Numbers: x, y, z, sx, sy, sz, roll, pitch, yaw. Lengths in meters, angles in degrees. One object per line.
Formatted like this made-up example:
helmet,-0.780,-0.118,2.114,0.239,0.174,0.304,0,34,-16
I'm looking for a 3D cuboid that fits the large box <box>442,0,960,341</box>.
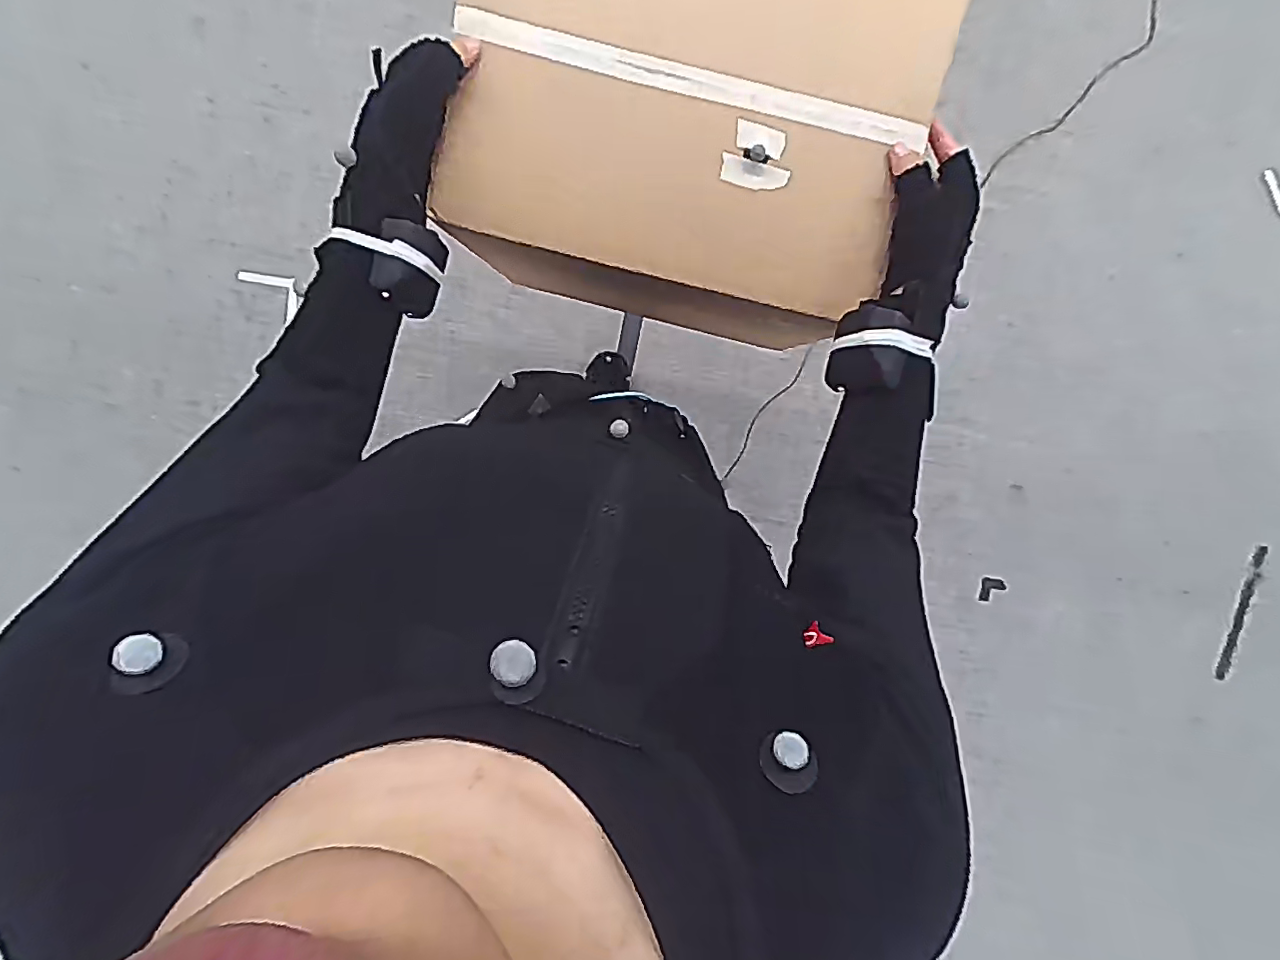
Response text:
large box,0.045,-0.360,0.607,0.408,0.320,0.320,13,101,-3
